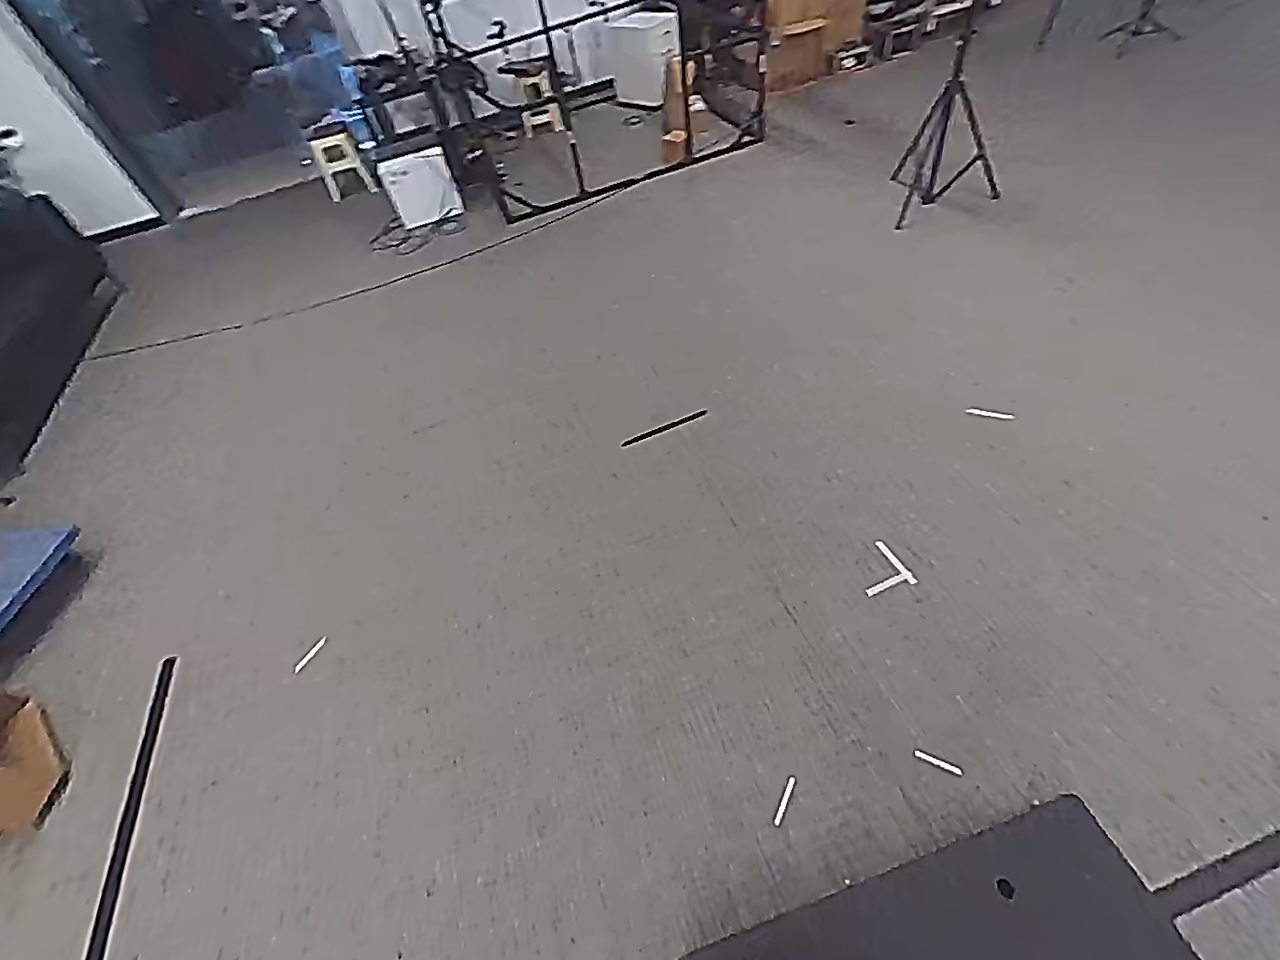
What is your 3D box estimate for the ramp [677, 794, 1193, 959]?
[{"bbox_3d":[0.608,1.013,1.020,0.991,0.206,0.509,-20,48,-6],"label":"ramp"}]
